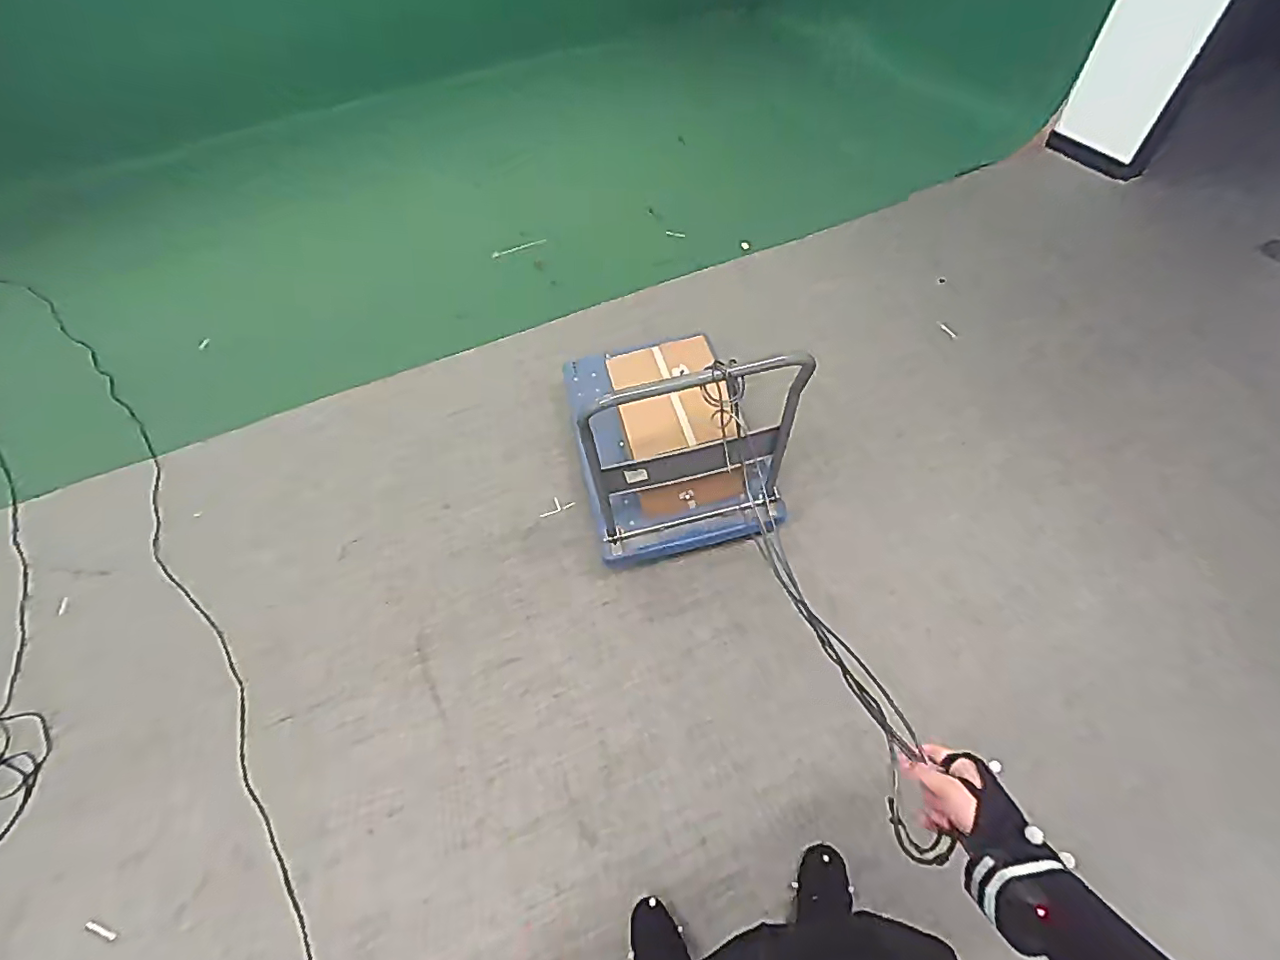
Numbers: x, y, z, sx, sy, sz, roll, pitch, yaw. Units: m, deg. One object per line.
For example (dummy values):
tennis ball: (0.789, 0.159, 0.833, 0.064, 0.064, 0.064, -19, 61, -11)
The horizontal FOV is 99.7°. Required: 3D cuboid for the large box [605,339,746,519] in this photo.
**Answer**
large box: (0.106, -0.152, 1.646, 0.320, 0.320, 0.408, -14, 54, -3)
